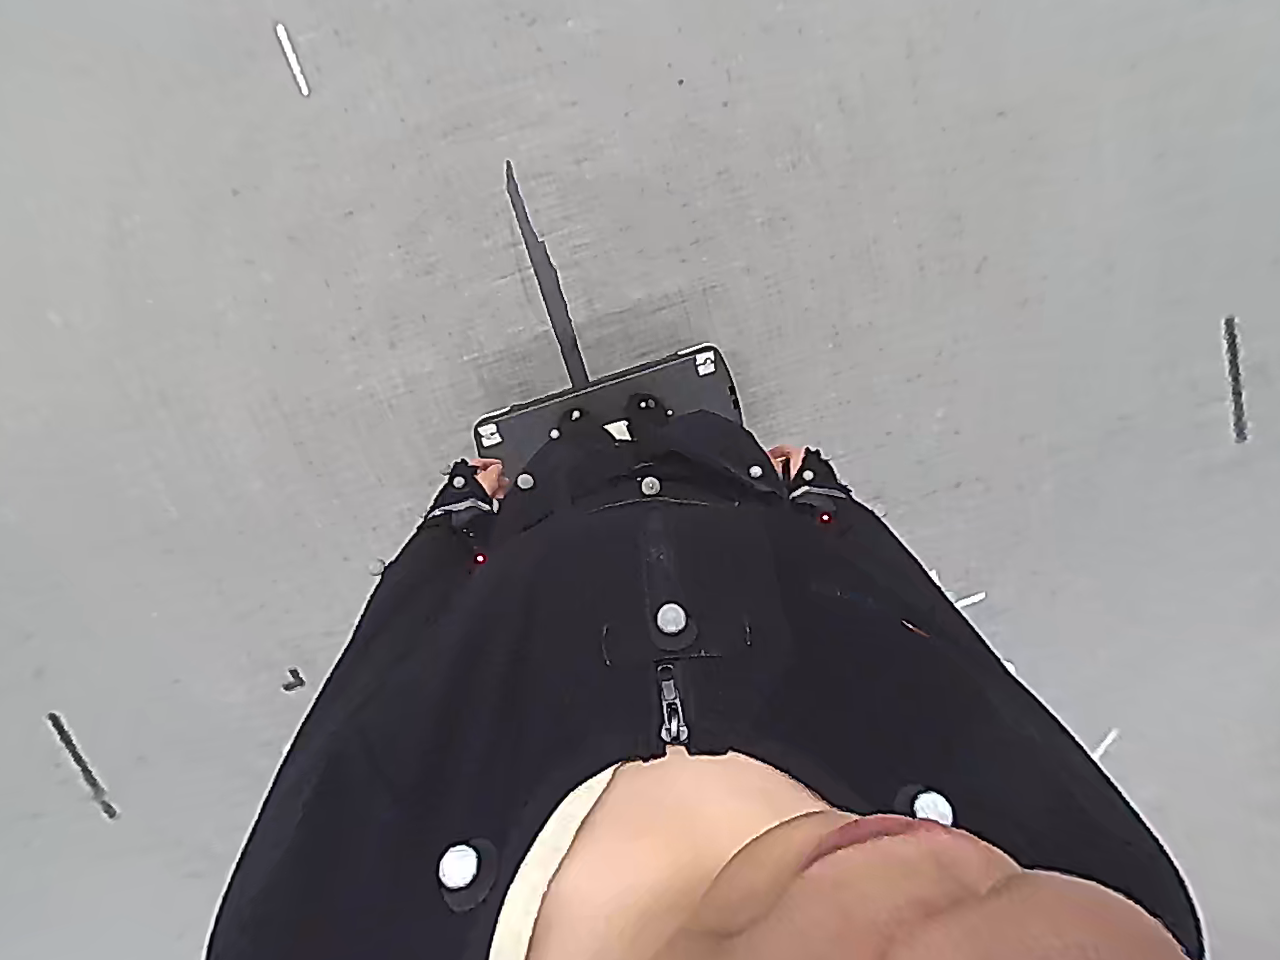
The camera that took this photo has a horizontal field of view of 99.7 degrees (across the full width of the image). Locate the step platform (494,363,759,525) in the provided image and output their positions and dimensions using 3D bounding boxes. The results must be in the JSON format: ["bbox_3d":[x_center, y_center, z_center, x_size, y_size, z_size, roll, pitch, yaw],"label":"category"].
[{"bbox_3d":[-0.035,-0.099,1.445,0.684,0.204,0.286,-14,101,-1],"label":"step platform"}]
